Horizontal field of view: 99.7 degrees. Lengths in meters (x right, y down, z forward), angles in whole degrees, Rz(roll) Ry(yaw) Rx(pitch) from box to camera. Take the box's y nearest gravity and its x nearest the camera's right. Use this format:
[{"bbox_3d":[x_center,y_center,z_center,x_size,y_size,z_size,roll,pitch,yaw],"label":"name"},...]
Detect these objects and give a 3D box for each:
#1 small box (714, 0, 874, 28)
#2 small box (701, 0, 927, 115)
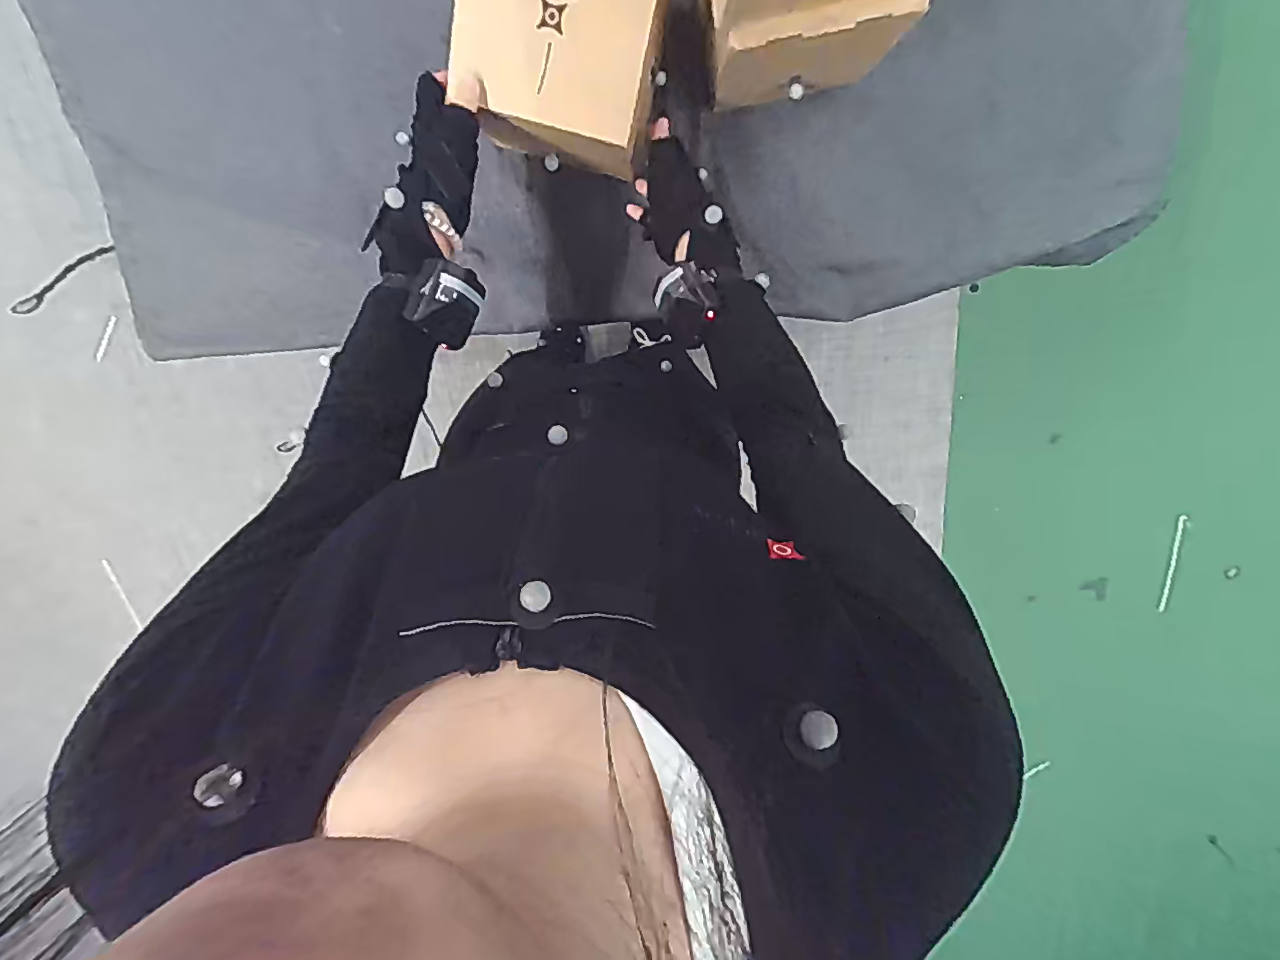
[{"bbox_3d":[0.130,-0.433,0.343,0.179,0.176,0.168,-10,108,4],"label":"small box"},{"bbox_3d":[0.145,-0.477,0.501,0.168,0.176,0.179,-8,108,5],"label":"small box"}]
